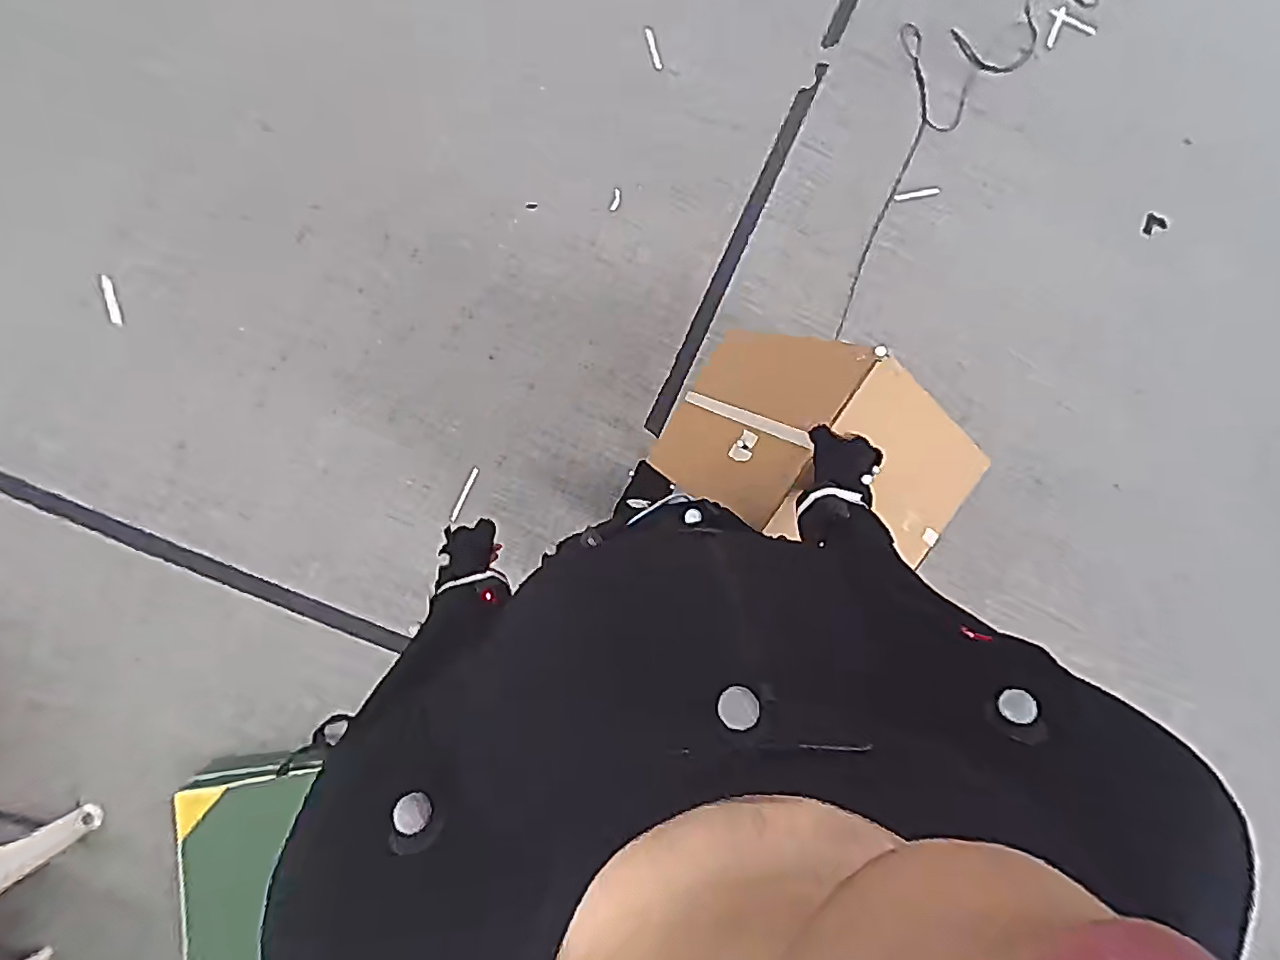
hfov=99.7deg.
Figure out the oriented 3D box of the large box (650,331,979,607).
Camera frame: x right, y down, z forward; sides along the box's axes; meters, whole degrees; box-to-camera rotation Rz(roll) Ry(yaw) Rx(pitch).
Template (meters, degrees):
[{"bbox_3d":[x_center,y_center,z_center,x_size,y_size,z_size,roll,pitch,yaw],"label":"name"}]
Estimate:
[{"bbox_3d":[0.287,-0.040,0.982,0.320,0.408,0.320,32,95,-29],"label":"large box"}]
